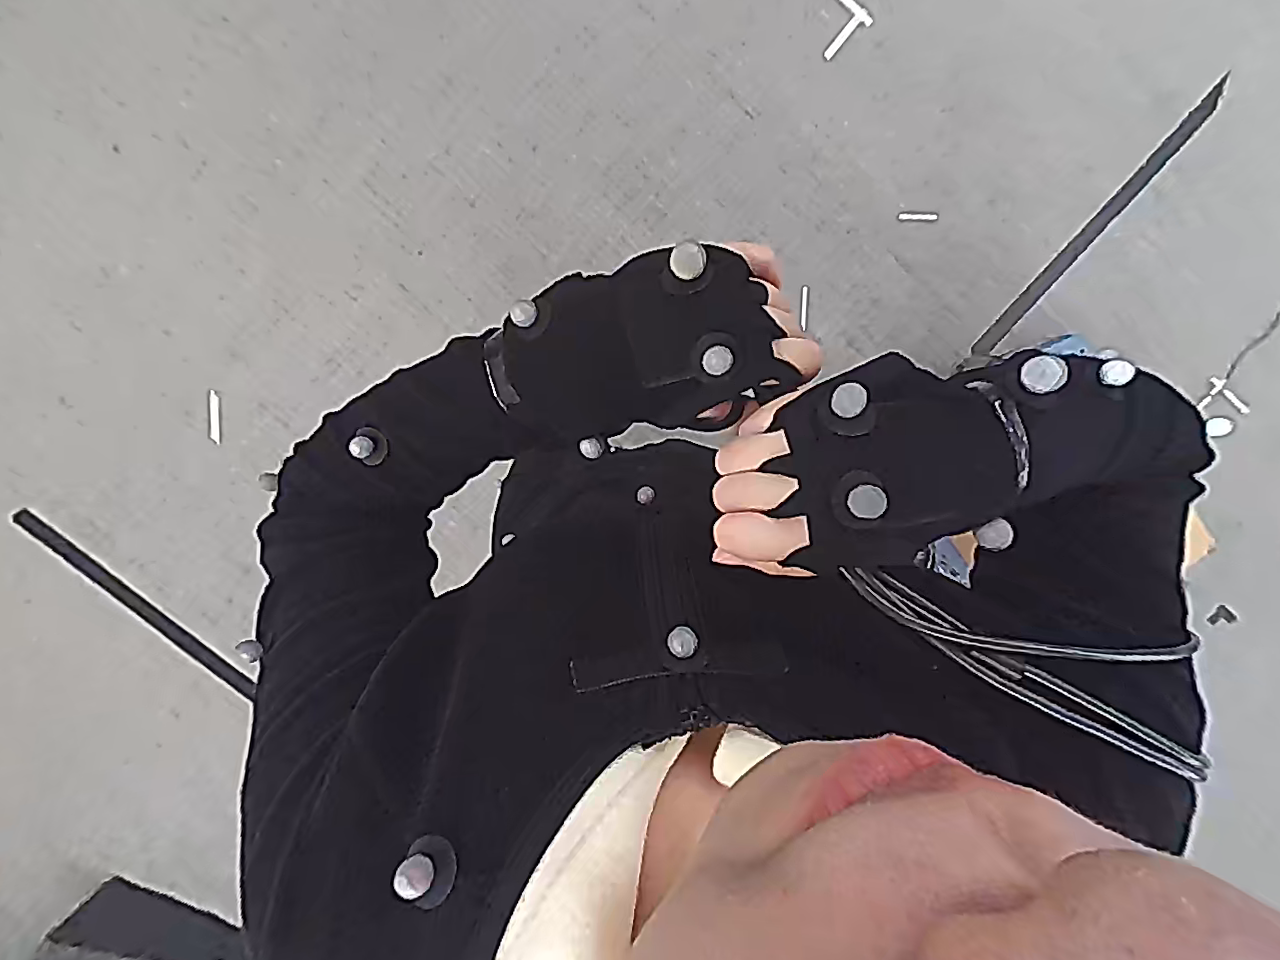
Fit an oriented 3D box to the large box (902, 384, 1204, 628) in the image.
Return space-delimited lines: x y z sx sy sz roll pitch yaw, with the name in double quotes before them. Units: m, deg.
"large box" 0.893 0.043 1.218 0.320 0.320 0.408 -36 97 1
